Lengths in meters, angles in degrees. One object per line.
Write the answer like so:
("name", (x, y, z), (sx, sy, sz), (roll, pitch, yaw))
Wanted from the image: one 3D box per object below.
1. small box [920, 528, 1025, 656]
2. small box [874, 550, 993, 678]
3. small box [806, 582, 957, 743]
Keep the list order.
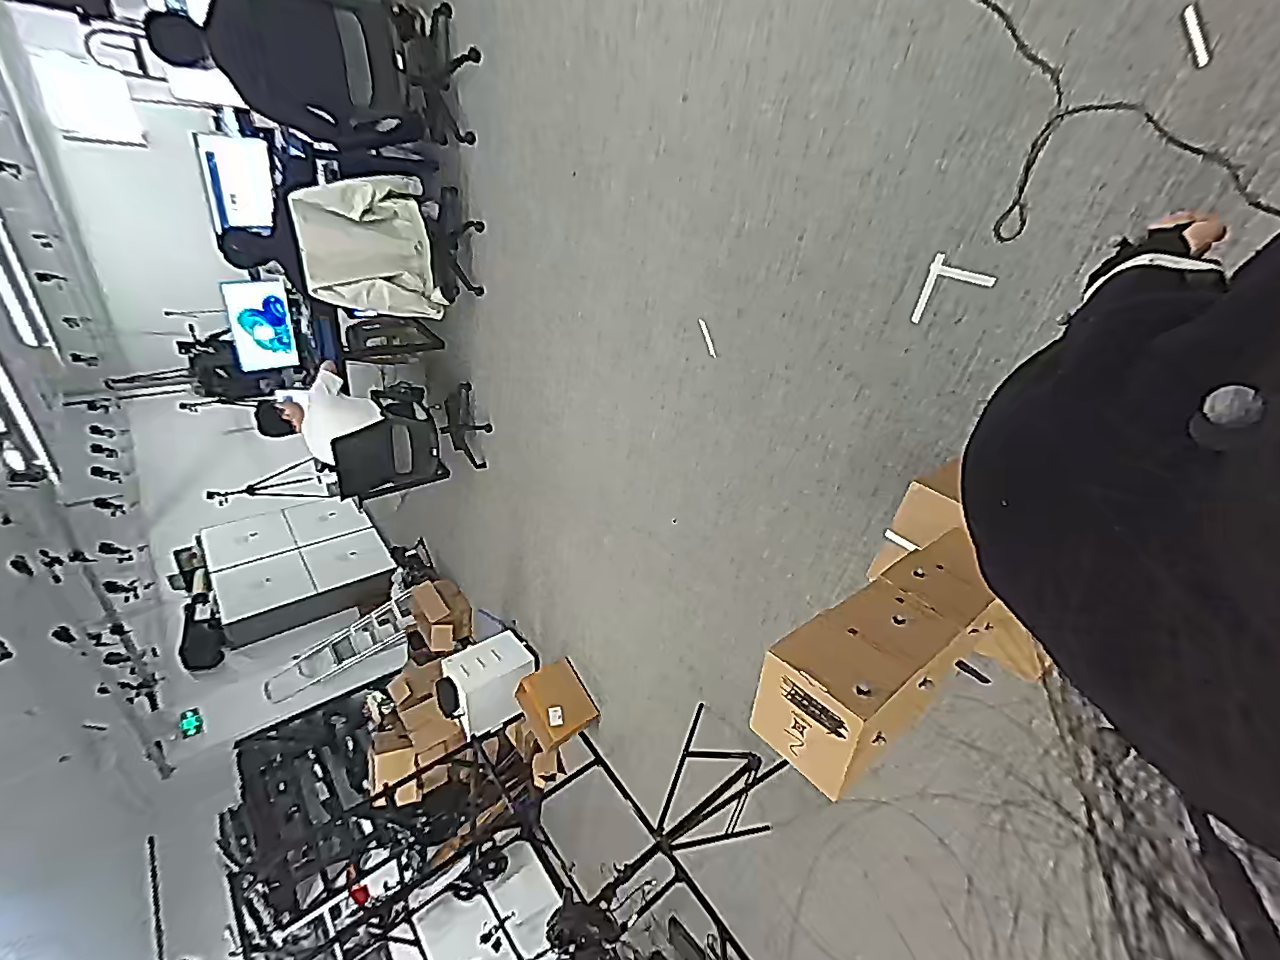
("small box", (0.676, 0.230, 1.148), (0.168, 0.176, 0.179), (36, 130, 38))
("small box", (0.550, 0.263, 1.051), (0.168, 0.176, 0.179), (36, 131, 40))
("small box", (0.426, 0.309, 0.952), (0.168, 0.176, 0.179), (32, 128, 43))
